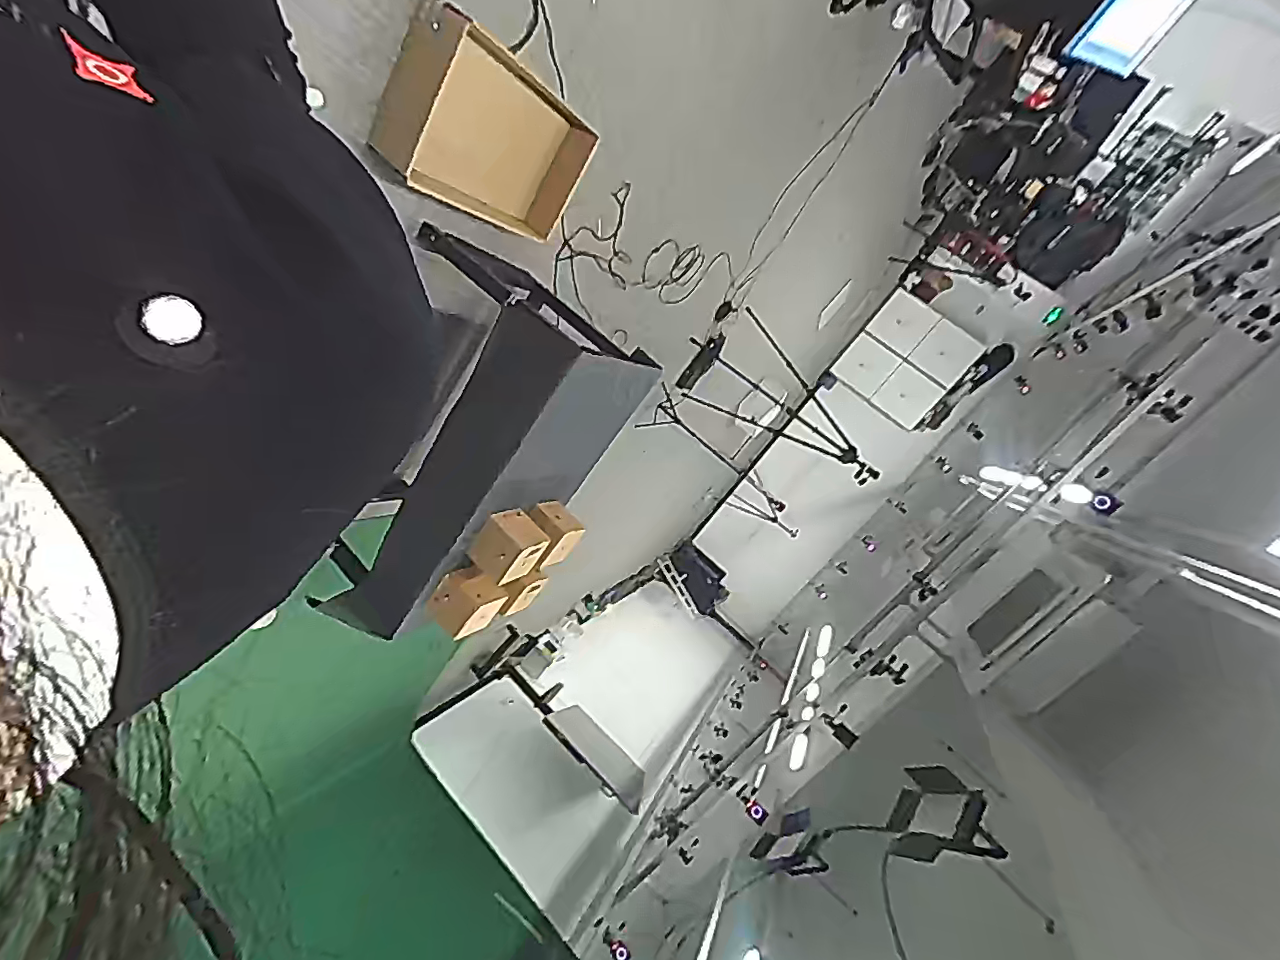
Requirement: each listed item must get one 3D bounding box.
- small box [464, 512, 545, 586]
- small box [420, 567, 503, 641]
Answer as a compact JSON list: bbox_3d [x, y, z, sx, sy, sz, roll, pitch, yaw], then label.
[{"bbox_3d":[-0.461,0.222,1.832,0.179,0.176,0.168,-53,165,19],"label":"small box"},{"bbox_3d":[-0.621,0.422,1.887,0.168,0.176,0.179,-52,165,13],"label":"small box"}]
